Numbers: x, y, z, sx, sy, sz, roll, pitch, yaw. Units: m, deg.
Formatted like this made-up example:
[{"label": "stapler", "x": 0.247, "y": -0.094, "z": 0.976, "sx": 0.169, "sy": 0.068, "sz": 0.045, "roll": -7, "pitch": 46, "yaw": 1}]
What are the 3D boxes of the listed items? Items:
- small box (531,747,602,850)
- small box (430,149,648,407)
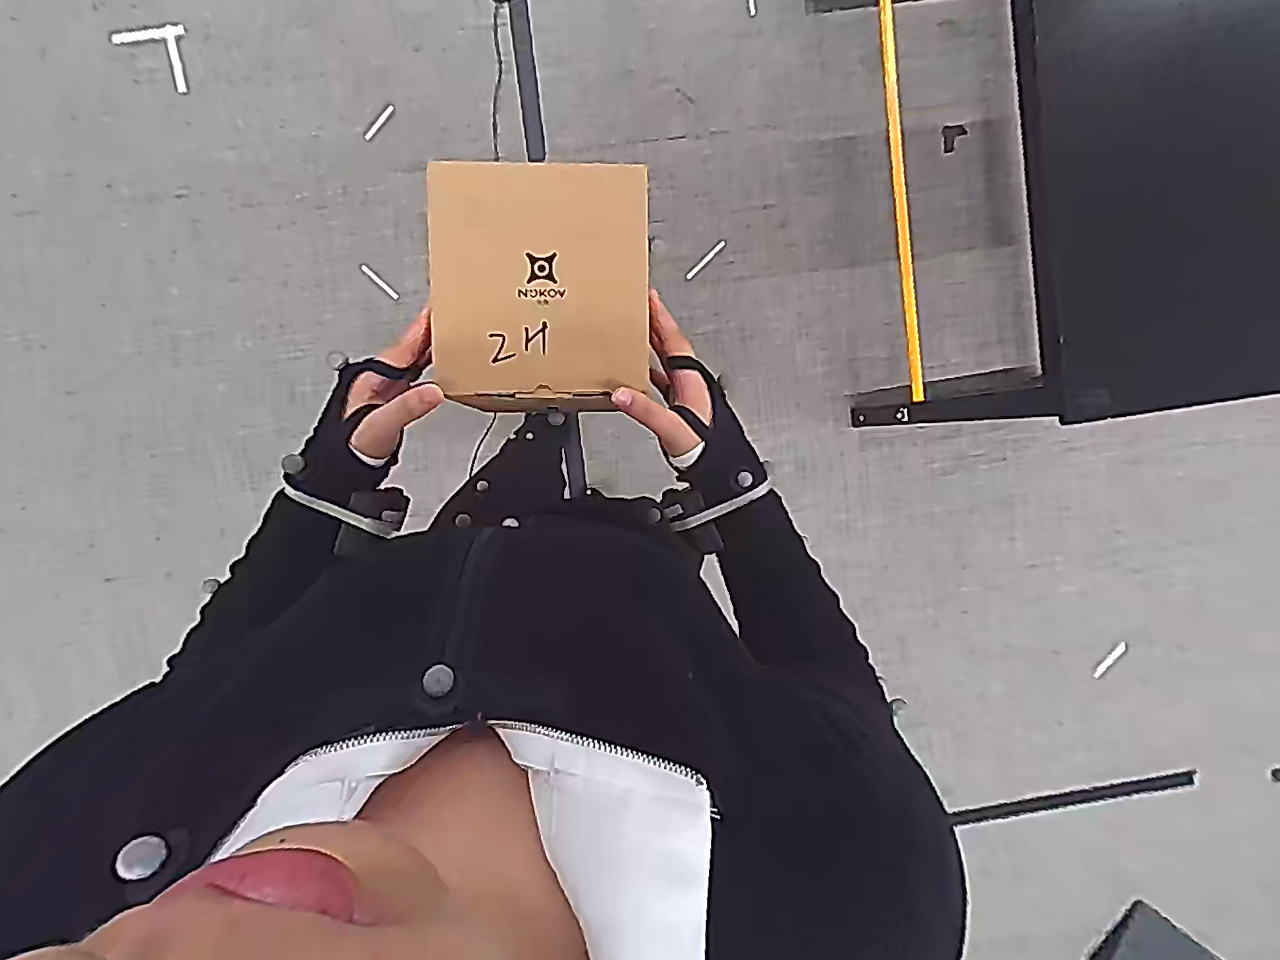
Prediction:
[{"label": "small box", "x": -0.194, "y": 0.850, "z": 1.464, "sx": 0.168, "sy": 0.176, "sz": 0.179, "roll": -8, "pitch": 94, "yaw": -2}, {"label": "small box", "x": -0.081, "y": -0.163, "z": 0.489, "sx": 0.168, "sy": 0.176, "sz": 0.179, "roll": -1, "pitch": 93, "yaw": -3}]
